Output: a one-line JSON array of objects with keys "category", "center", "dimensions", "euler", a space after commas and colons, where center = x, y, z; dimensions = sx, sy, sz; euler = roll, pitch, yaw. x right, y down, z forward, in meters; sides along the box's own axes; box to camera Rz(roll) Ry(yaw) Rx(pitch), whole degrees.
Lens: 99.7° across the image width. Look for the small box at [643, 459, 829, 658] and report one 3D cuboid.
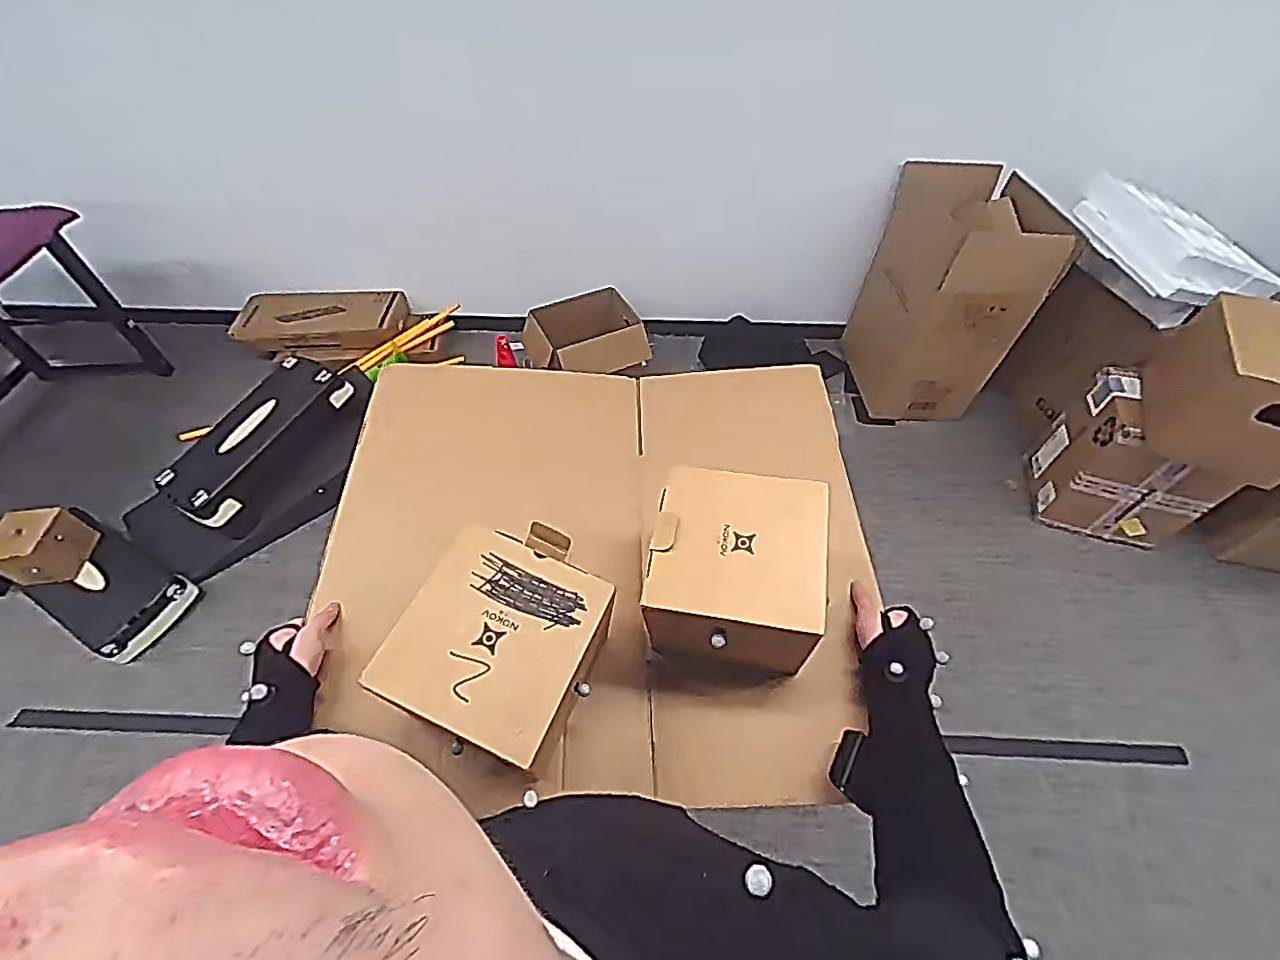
[{"category": "small box", "center": [0.110, 0.097, 0.628], "dimensions": [0.179, 0.176, 0.168], "euler": [7, 60, 11]}]
